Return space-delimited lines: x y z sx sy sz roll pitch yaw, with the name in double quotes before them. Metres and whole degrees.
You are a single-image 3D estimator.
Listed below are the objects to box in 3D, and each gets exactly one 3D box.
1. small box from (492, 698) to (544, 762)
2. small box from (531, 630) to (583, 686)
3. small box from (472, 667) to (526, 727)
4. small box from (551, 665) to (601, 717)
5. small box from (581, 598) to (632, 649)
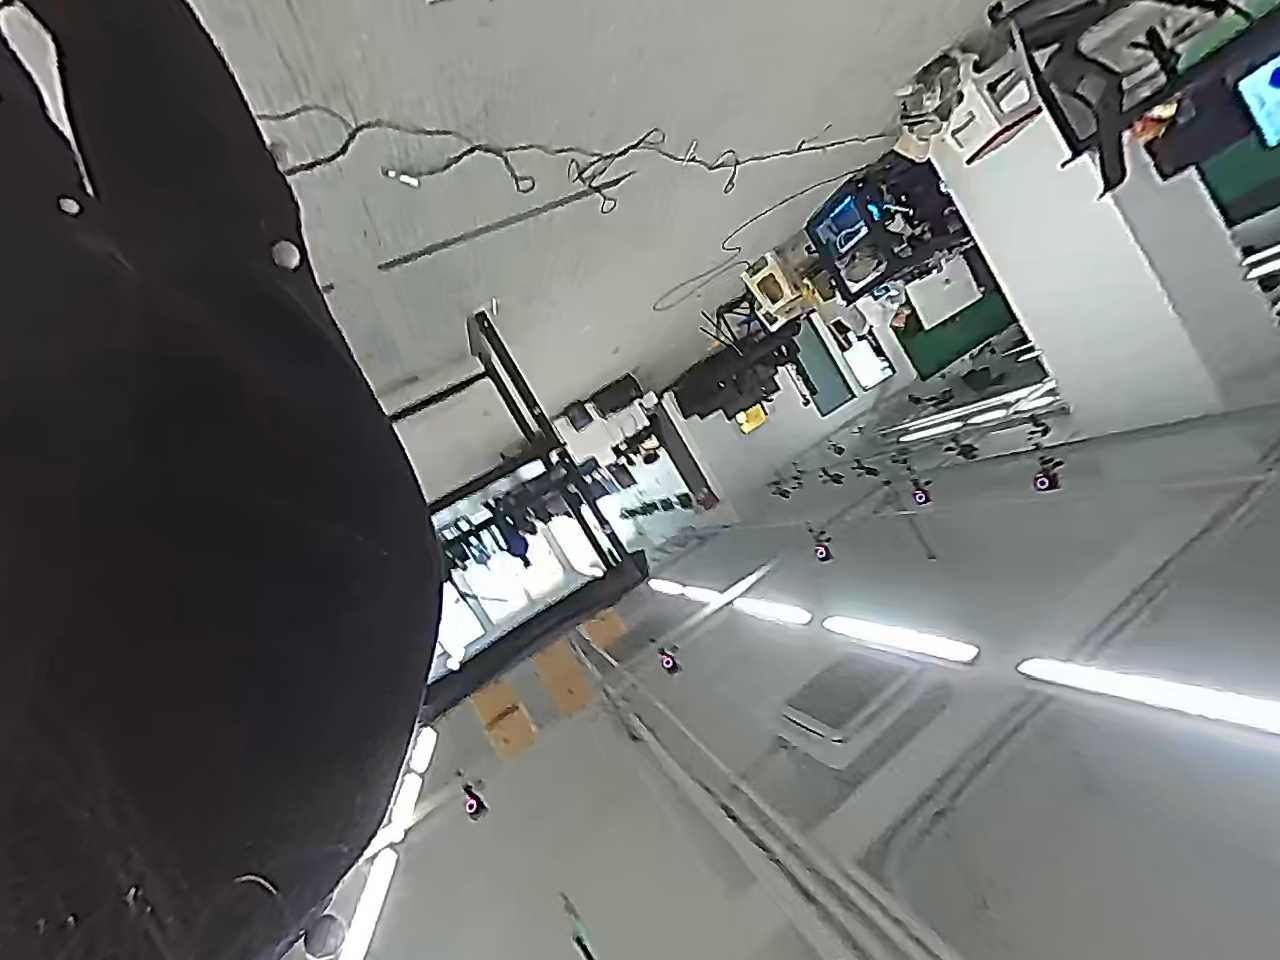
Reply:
"small box" -0.542 1.100 2.394 0.168 0.176 0.179 -30 -177 -15
"small box" -0.390 0.816 2.502 0.168 0.176 0.179 -32 -176 -18
"small box" -0.635 0.965 2.418 0.168 0.176 0.179 -32 -176 -21
"small box" -0.308 0.959 2.513 0.168 0.176 0.179 -31 -177 -18
"small box" -0.167 0.678 2.581 0.168 0.176 0.179 -30 -177 -17
